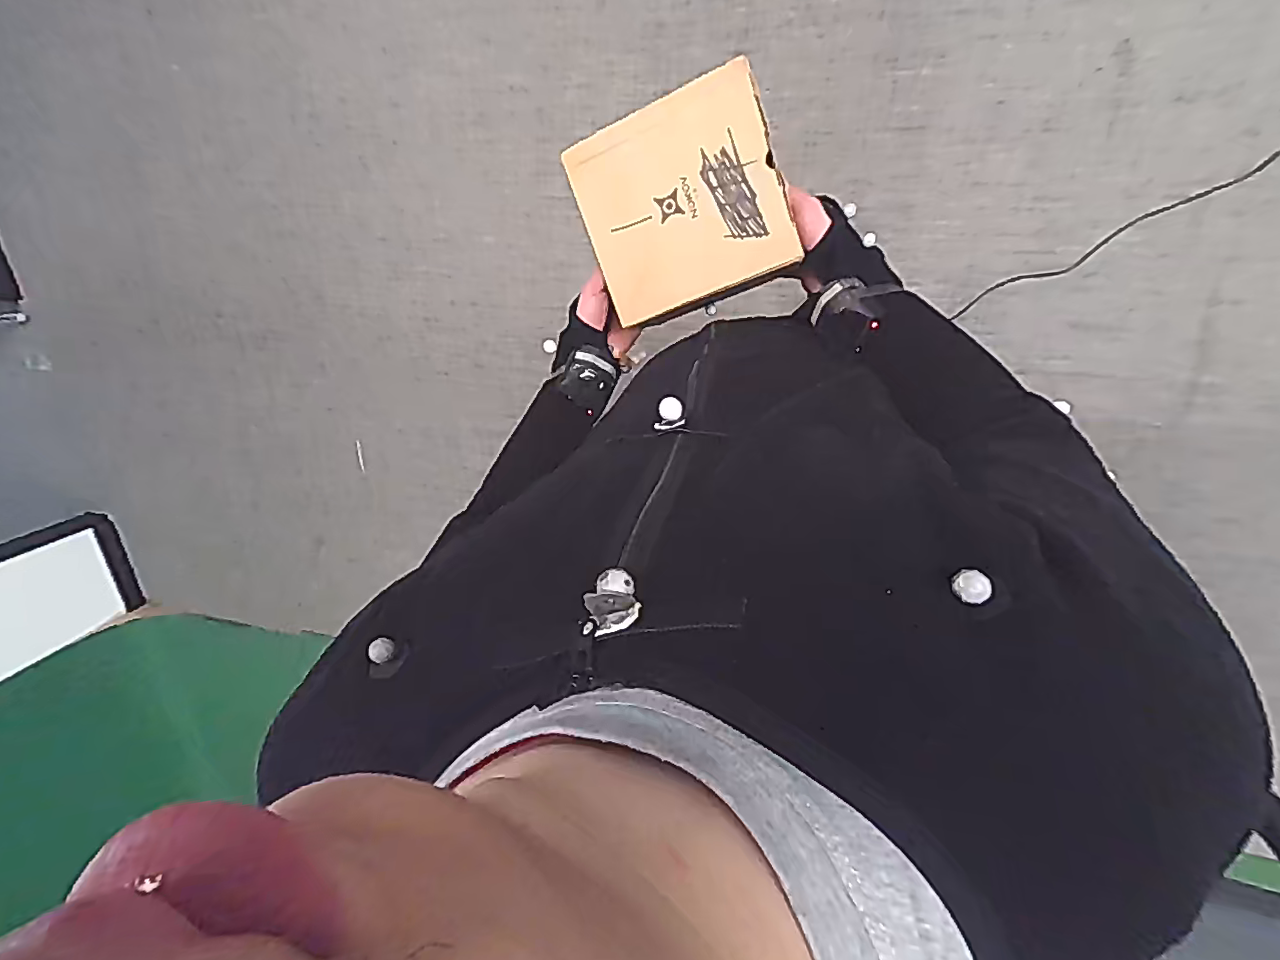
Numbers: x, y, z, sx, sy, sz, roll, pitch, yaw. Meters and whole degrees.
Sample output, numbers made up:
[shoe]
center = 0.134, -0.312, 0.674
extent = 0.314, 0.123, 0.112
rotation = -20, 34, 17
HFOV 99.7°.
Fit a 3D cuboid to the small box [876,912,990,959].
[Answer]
[small box]
center = 0.555, 0.961, 1.010
extent = 0.179, 0.176, 0.168
rotation = 7, 113, 15
